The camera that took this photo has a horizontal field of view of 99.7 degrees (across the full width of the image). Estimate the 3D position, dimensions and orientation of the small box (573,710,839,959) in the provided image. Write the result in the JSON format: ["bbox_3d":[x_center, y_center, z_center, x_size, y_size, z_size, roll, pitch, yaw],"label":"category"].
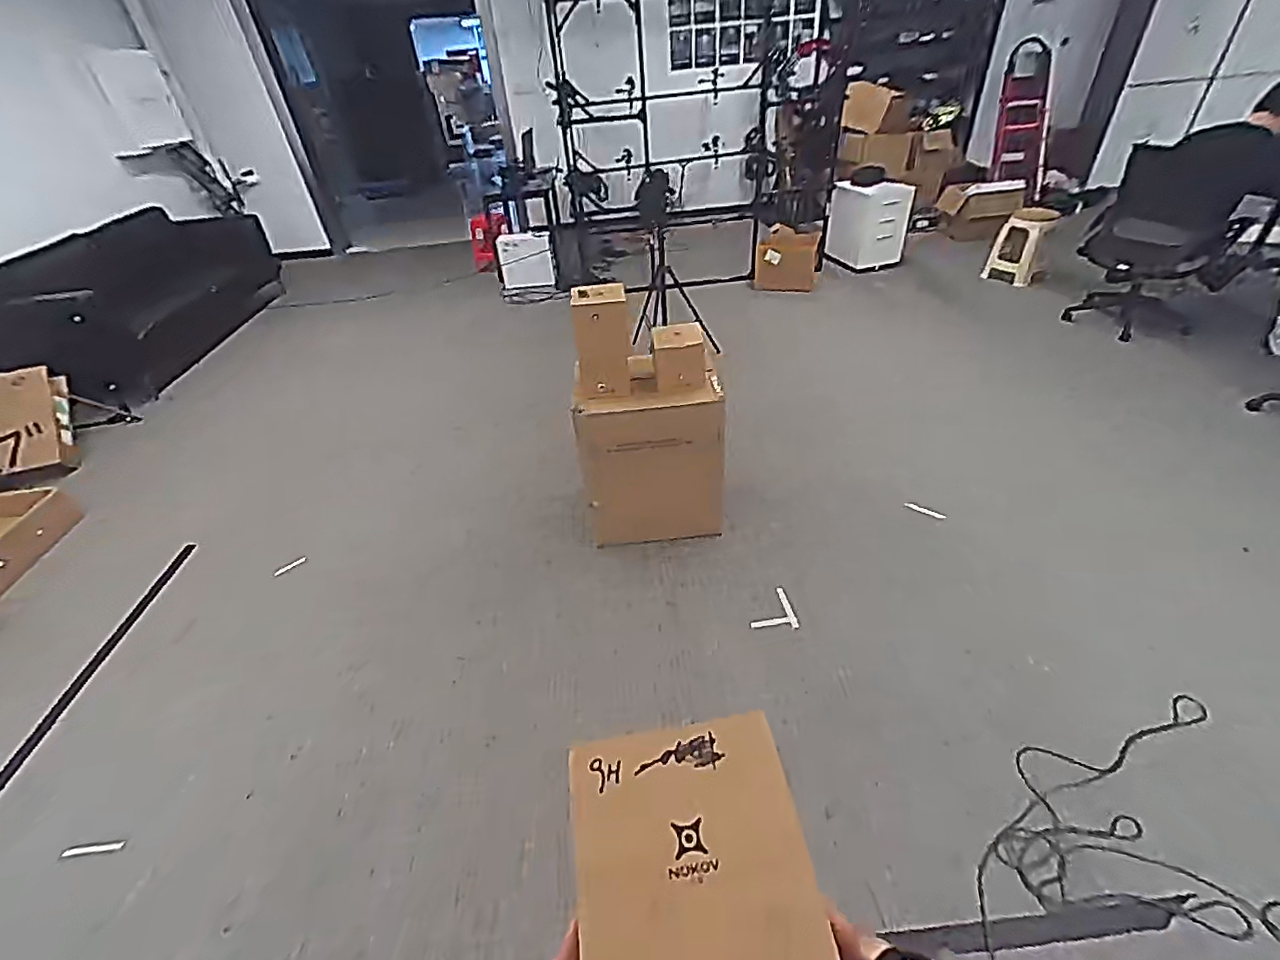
[{"bbox_3d":[0.042,0.320,0.448,0.168,0.176,0.179,-8,47,-4],"label":"small box"}]

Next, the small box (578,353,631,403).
[{"bbox_3d":[-0.124,-0.388,1.895,0.168,0.176,0.179,-7,39,-1],"label":"small box"}]

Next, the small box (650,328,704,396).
[{"bbox_3d":[0.128,-0.413,1.891,0.168,0.176,0.179,-8,38,1],"label":"small box"}]

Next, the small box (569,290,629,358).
[{"bbox_3d":[-0.134,-0.515,1.791,0.179,0.176,0.168,-6,38,-2],"label":"small box"}]
